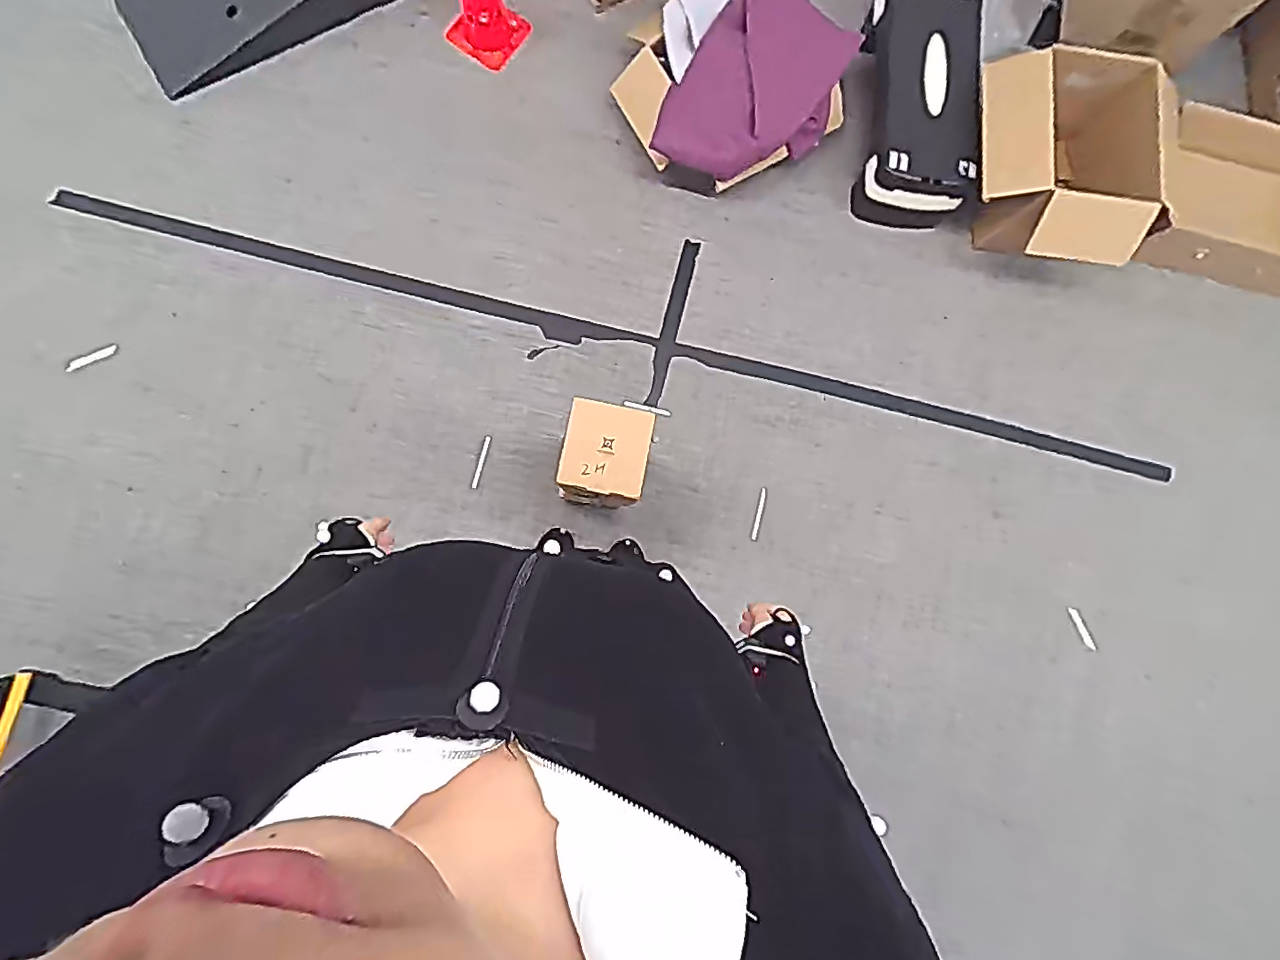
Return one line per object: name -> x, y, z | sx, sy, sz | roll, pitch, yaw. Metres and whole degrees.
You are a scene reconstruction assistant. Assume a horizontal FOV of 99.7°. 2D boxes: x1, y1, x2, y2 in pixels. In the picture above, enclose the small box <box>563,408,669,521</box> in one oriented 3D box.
small box -> -0.047, -0.022, 1.046 | 0.168, 0.176, 0.179 | 11, 84, -2
